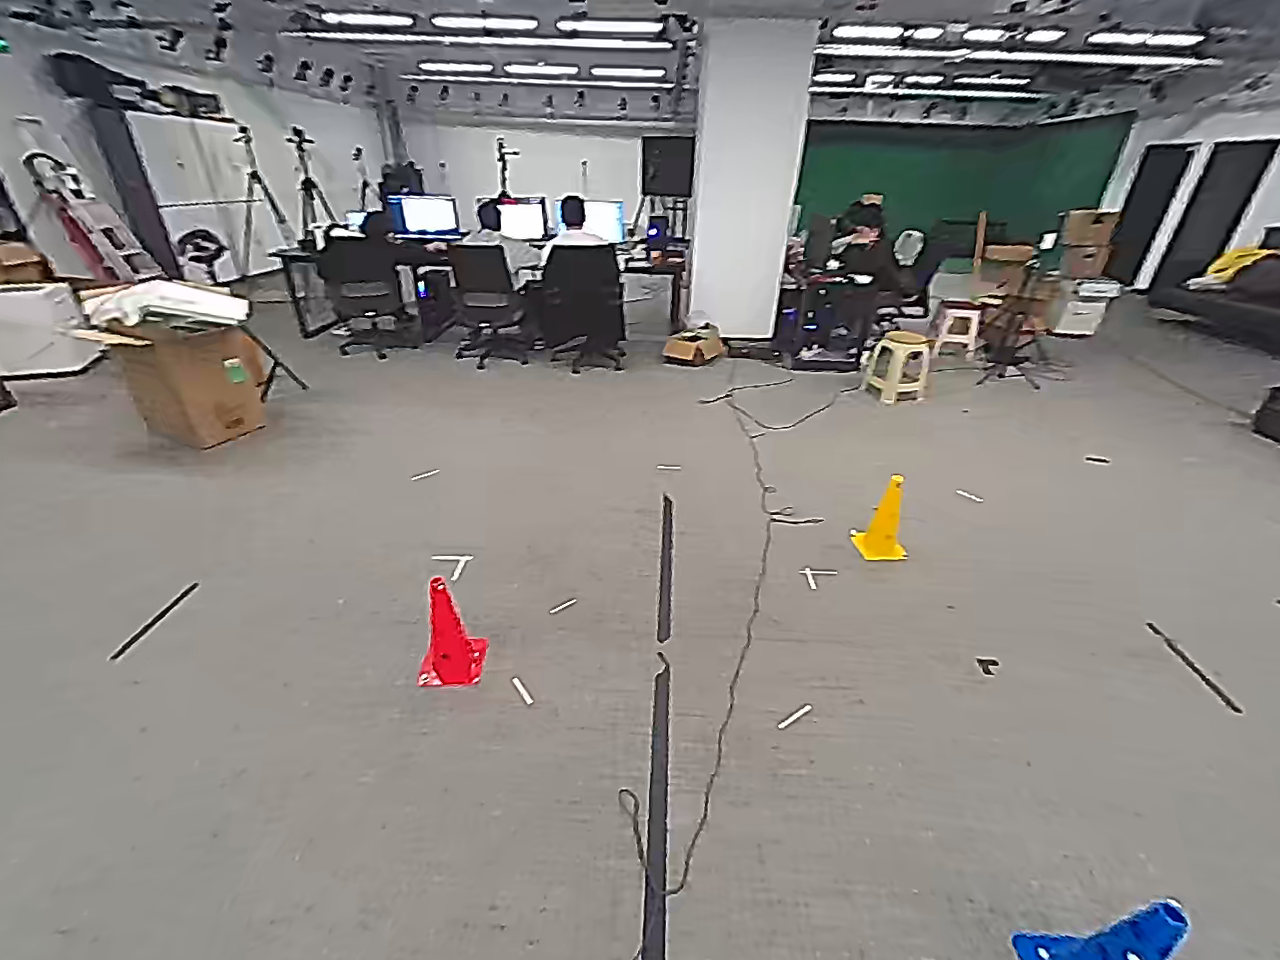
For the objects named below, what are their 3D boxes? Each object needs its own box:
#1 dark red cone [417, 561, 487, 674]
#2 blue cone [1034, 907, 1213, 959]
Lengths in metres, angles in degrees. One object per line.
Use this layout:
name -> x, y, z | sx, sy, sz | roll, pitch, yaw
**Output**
dark red cone -> -0.611, 0.426, 1.712 | 0.201, 0.394, 0.202 | 0, 30, -5
blue cone -> 0.928, 0.903, 1.005 | 0.192, 0.380, 0.193 | 4, 30, 2
